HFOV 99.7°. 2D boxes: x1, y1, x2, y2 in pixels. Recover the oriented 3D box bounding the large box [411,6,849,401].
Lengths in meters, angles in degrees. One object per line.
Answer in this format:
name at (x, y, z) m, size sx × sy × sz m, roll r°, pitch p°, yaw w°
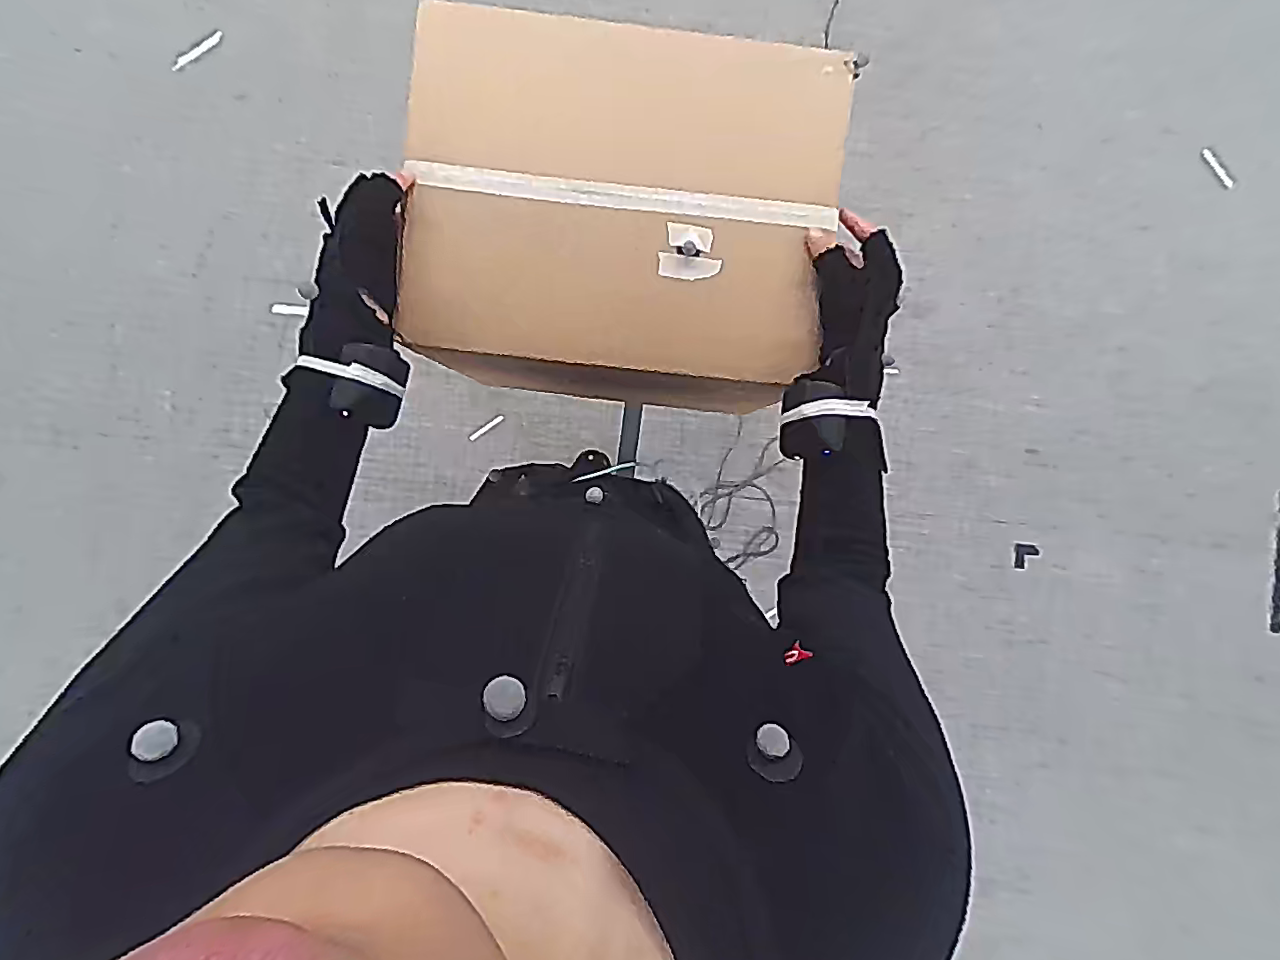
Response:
large box at (-0.016, -0.282, 0.667) m, size 0.408 × 0.320 × 0.320 m, roll 7°, pitch 94°, yaw -2°
